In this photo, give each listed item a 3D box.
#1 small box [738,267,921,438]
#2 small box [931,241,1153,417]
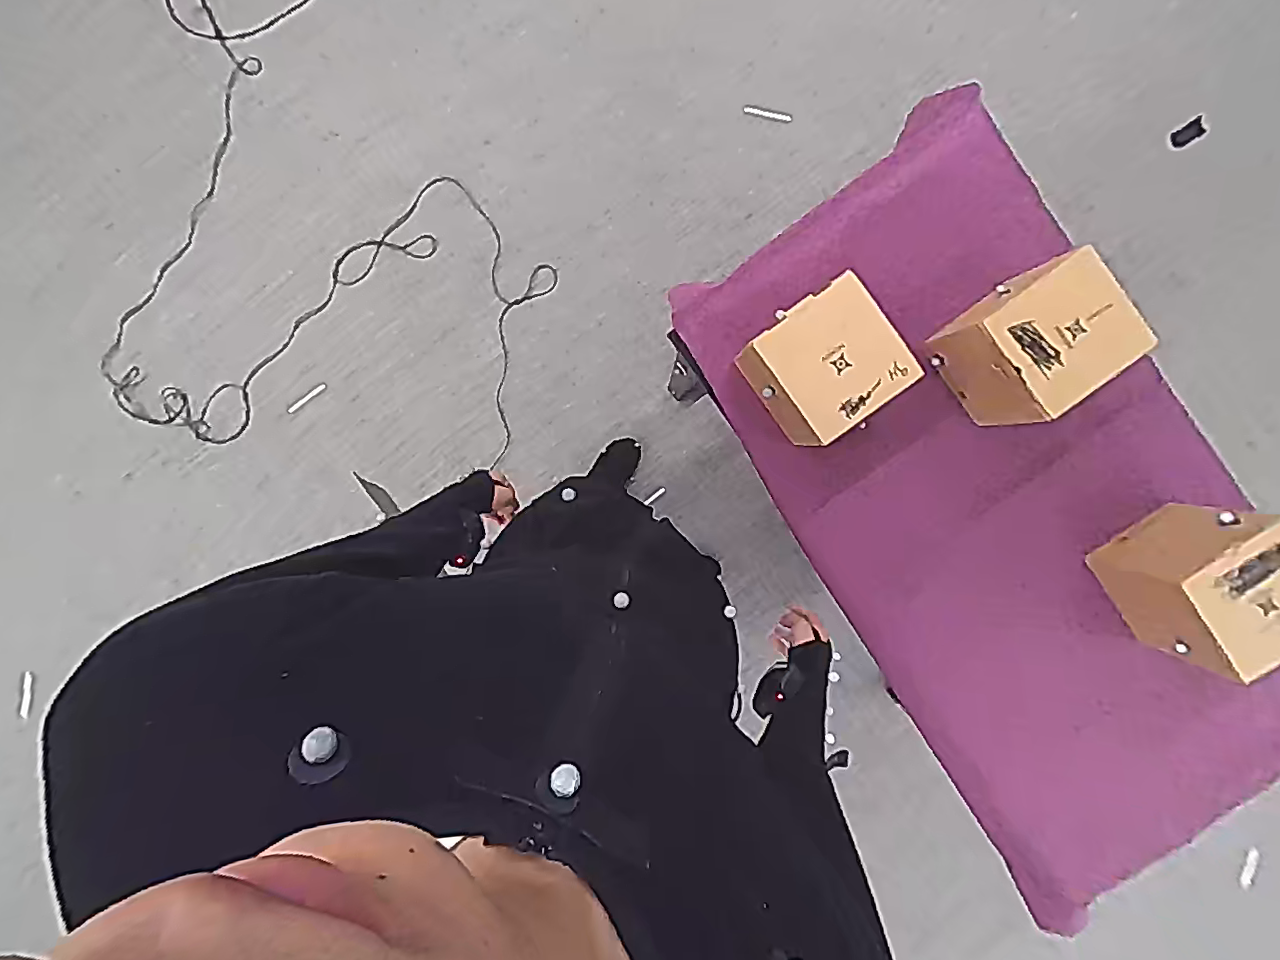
[{"bbox_3d":[0.266,-0.174,0.807,0.168,0.176,0.179,-36,92,4],"label":"small box"},{"bbox_3d":[0.569,-0.207,0.800,0.179,0.176,0.168,-37,92,3],"label":"small box"}]
